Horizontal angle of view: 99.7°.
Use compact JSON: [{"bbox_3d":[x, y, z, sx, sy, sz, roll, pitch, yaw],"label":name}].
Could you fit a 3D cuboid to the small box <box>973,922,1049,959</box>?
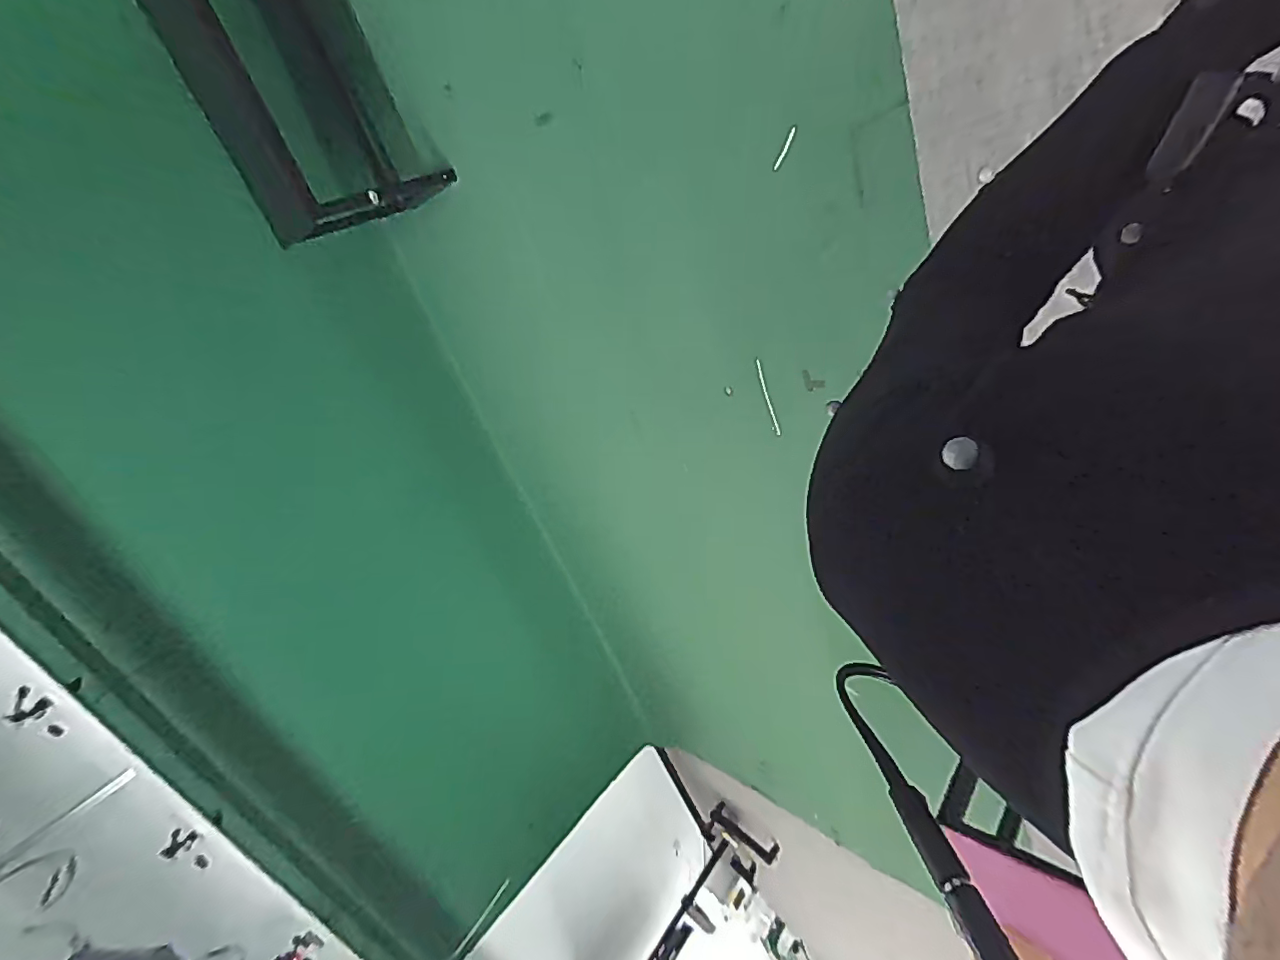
[{"bbox_3d":[1.063,1.429,1.539,0.168,0.176,0.179,6,126,48],"label":"small box"}]
